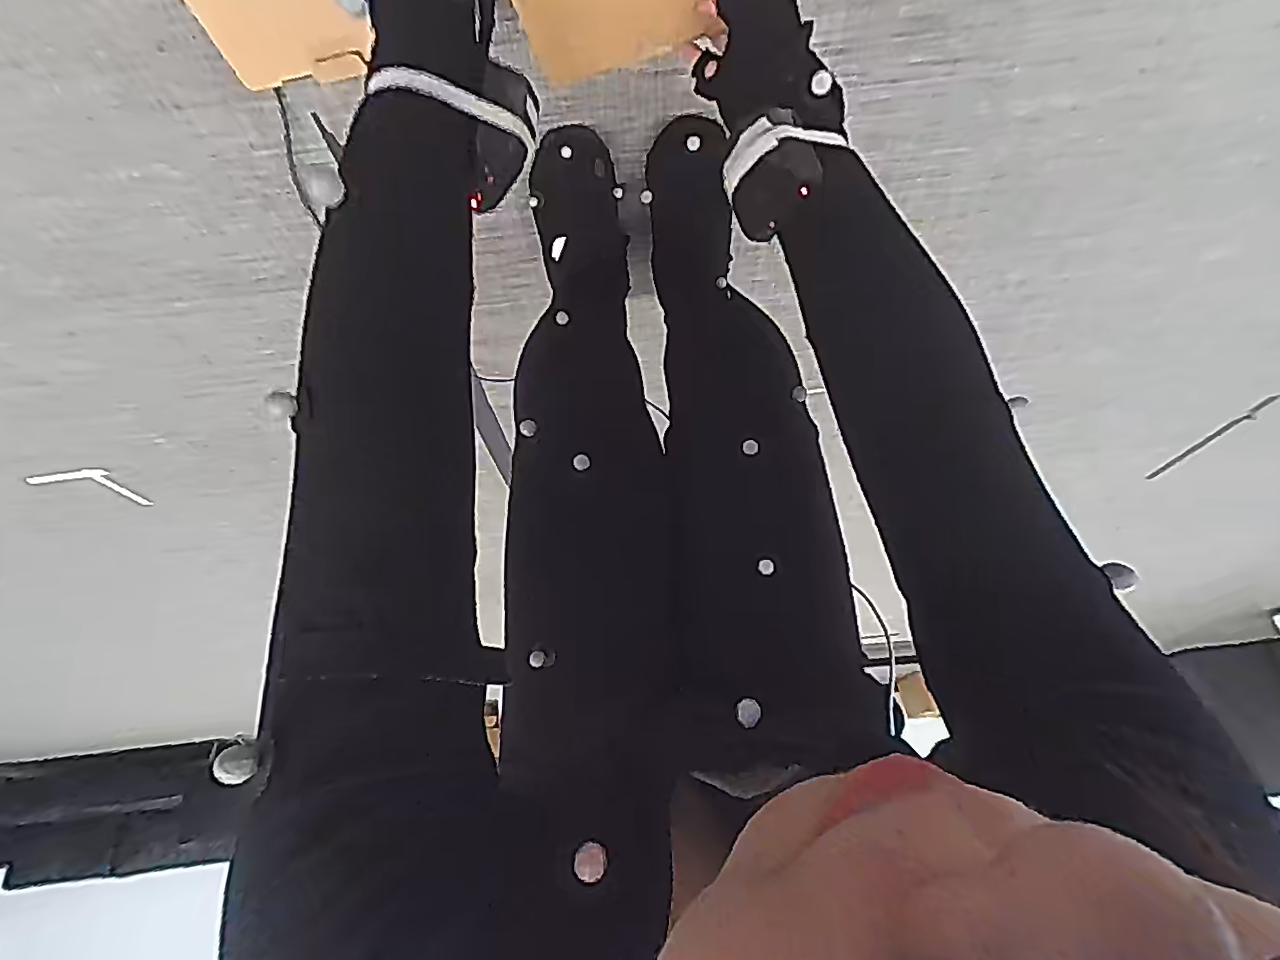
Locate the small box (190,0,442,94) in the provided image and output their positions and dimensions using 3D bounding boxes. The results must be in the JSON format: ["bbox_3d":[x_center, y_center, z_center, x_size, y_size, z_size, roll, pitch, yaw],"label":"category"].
[{"bbox_3d":[-0.264,-0.447,0.417,0.168,0.176,0.179,-9,149,4],"label":"small box"}]

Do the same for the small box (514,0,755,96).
[{"bbox_3d":[-0.019,-0.433,0.379,0.168,0.176,0.179,-7,160,18],"label":"small box"}]
